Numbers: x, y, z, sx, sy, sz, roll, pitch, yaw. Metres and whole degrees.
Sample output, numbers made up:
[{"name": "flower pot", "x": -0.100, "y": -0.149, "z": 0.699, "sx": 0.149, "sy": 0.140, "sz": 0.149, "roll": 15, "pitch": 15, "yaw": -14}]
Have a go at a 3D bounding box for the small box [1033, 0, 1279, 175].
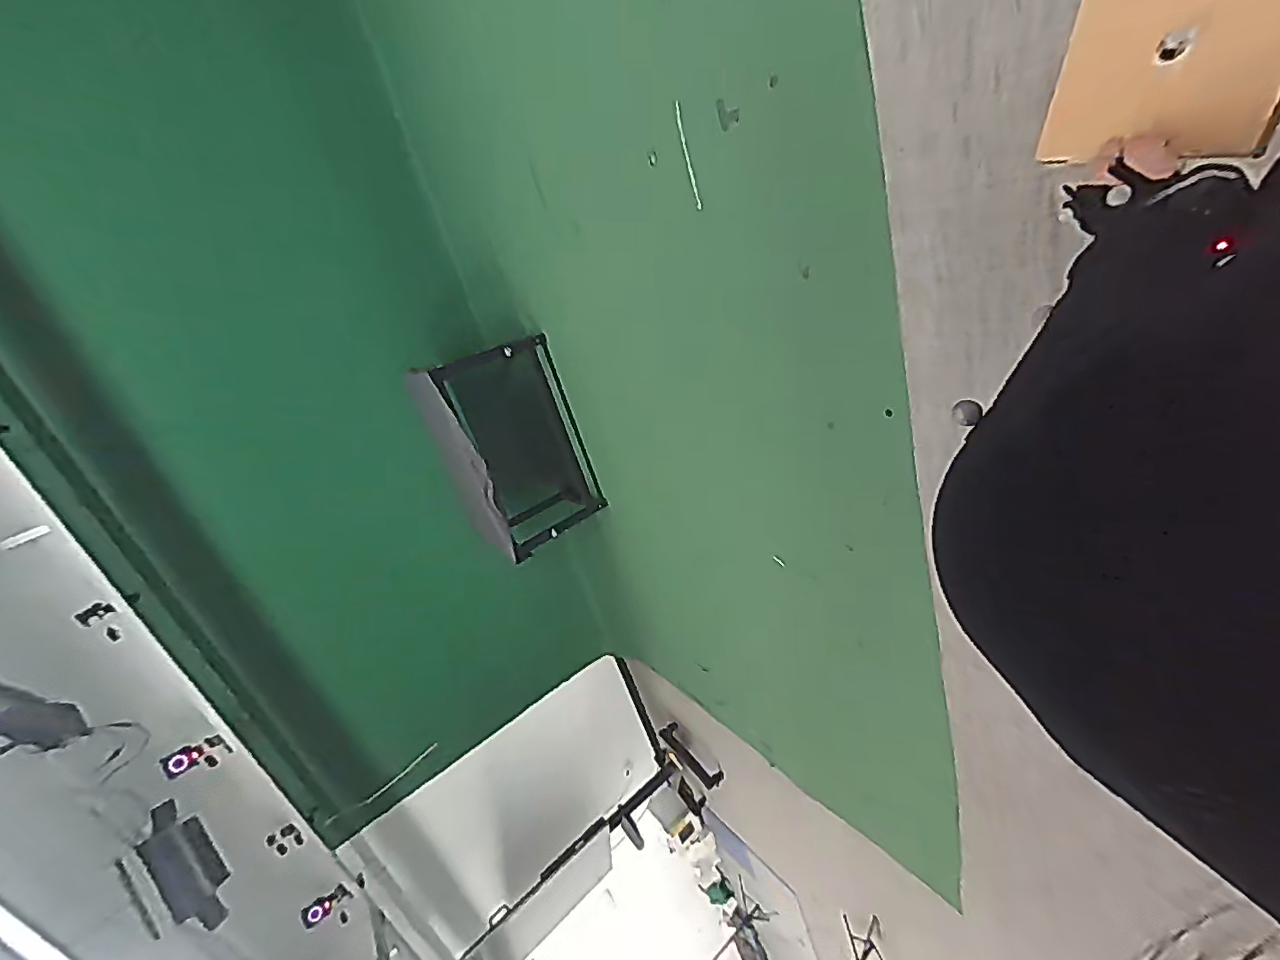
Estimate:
[{"name": "small box", "x": 0.529, "y": -0.403, "z": 0.534, "sx": 0.168, "sy": 0.179, "sz": 0.176, "roll": 26, "pitch": 128, "yaw": 39}]
